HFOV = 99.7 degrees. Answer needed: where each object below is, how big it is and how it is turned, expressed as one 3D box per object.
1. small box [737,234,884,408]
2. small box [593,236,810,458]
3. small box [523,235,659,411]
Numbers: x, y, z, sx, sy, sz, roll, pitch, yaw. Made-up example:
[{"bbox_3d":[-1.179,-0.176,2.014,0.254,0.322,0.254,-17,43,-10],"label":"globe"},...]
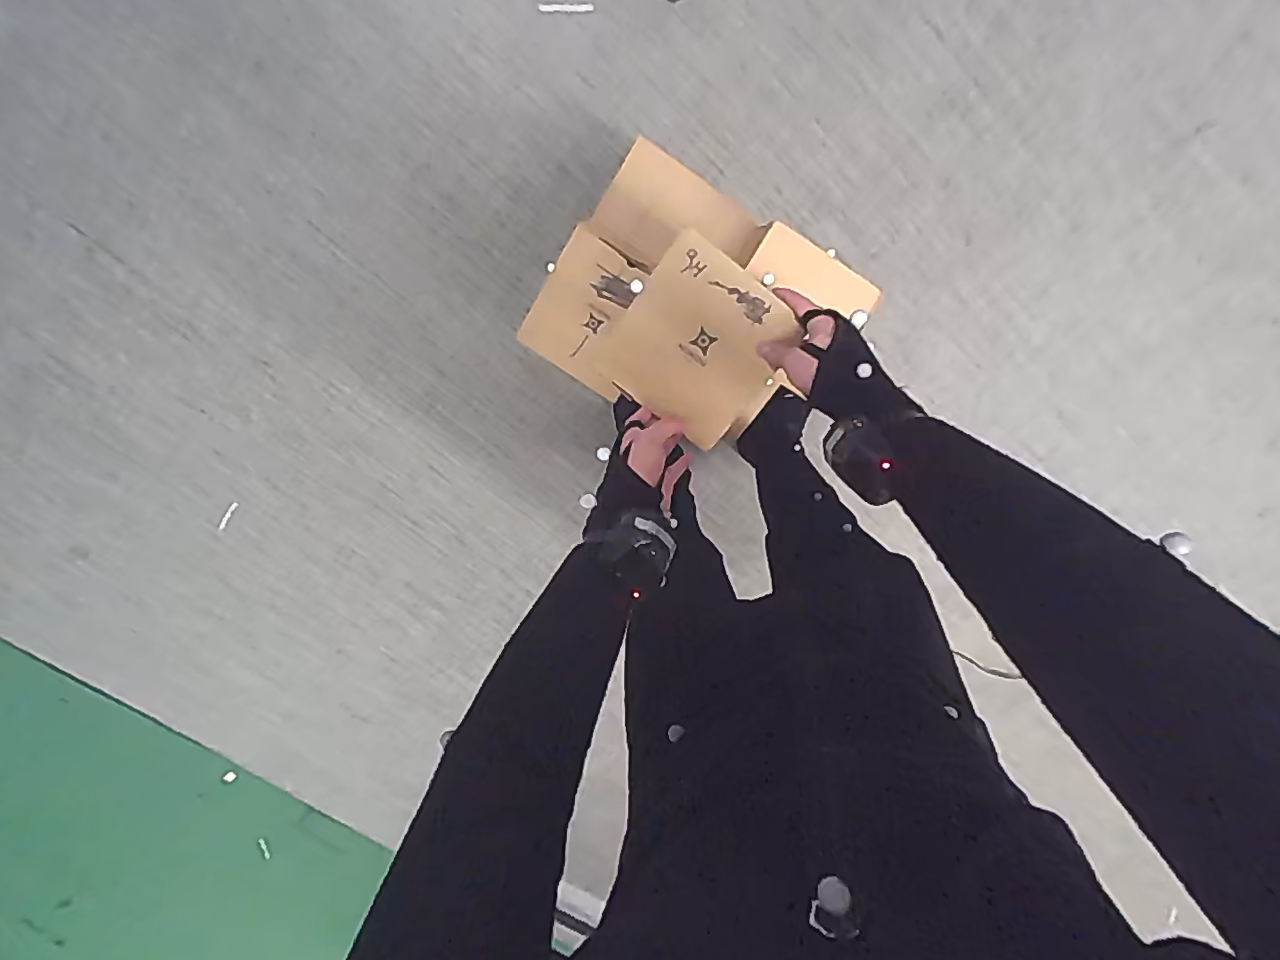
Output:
[{"bbox_3d":[0.207,-0.232,0.787,0.179,0.176,0.168,30,108,-7],"label":"small box"},{"bbox_3d":[0.070,-0.161,0.643,0.168,0.176,0.179,36,111,-9],"label":"small box"},{"bbox_3d":[-0.044,-0.237,0.800,0.168,0.176,0.179,33,113,-9],"label":"small box"}]
